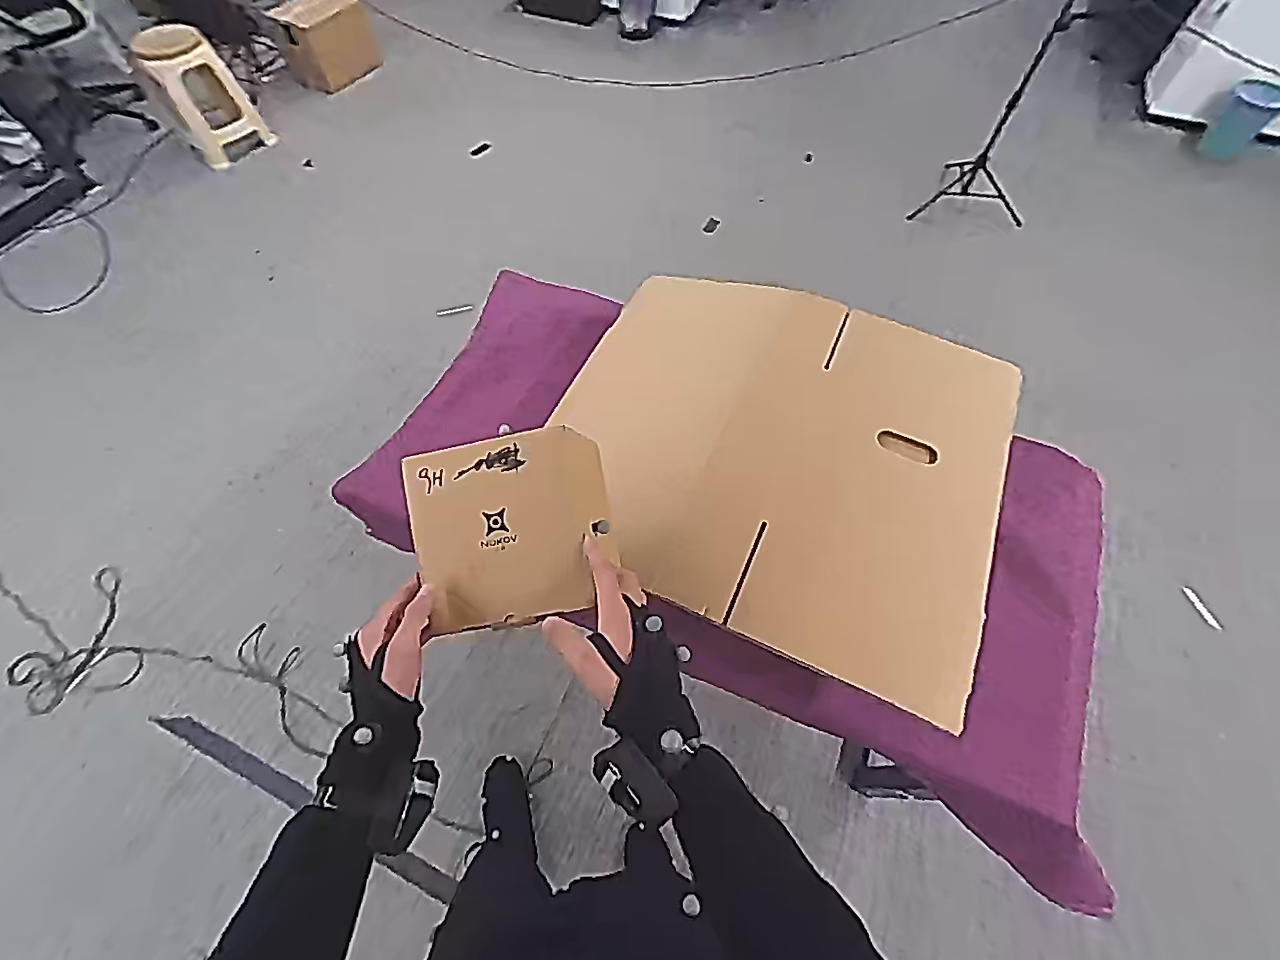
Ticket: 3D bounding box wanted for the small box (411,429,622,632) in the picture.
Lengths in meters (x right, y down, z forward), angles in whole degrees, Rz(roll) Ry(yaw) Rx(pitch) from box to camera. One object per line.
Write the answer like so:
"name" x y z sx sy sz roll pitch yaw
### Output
"small box" -0.121 0.050 0.596 0.168 0.176 0.179 -11 87 6
